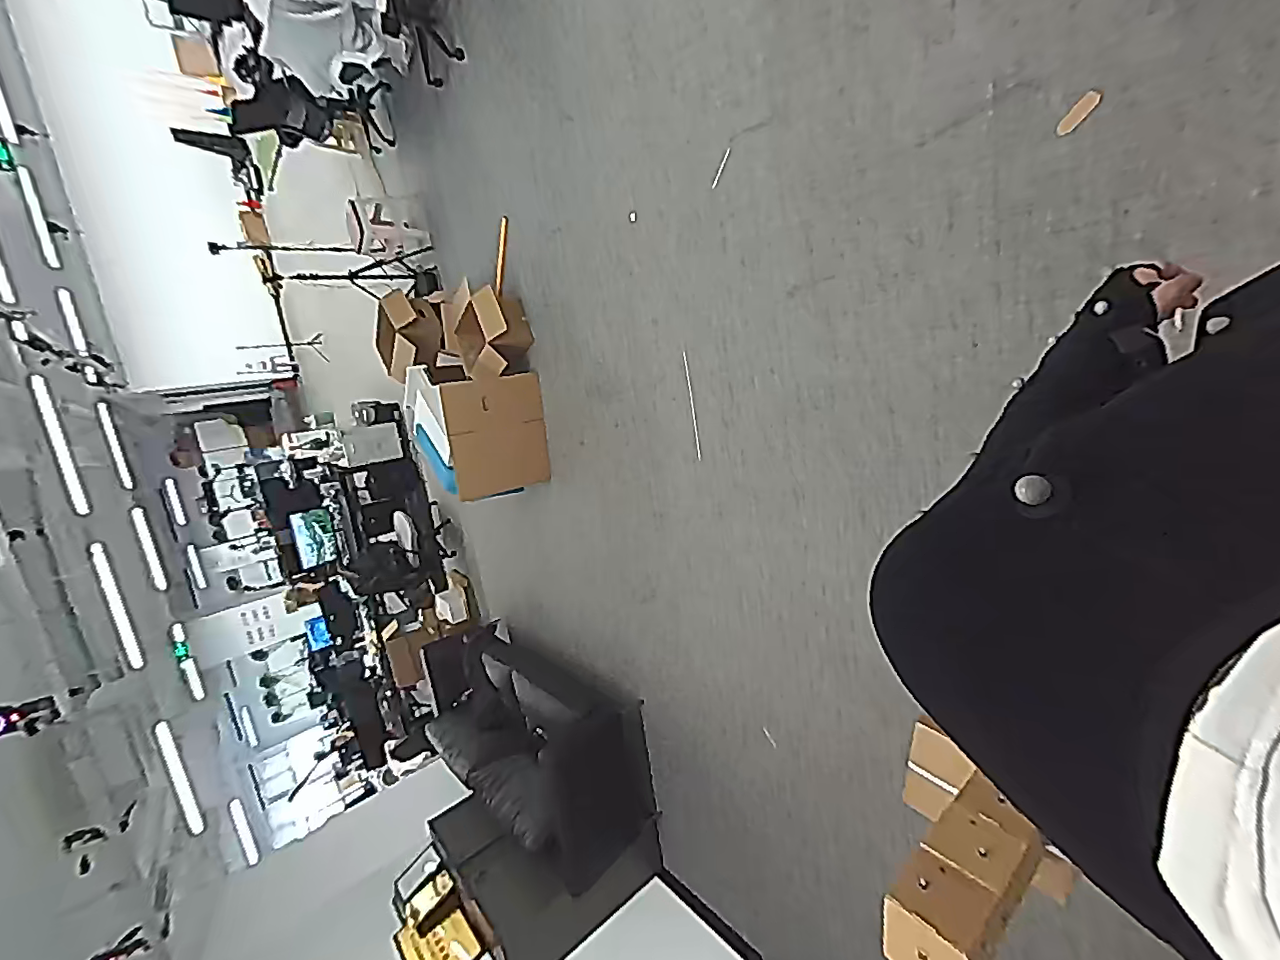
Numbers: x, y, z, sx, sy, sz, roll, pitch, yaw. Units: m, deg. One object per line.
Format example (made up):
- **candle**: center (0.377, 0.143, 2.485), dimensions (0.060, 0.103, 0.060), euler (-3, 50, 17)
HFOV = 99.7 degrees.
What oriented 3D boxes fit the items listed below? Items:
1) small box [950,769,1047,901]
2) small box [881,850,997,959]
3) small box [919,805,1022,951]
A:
- **small box**: center (0.881, 0.864, 1.339), dimensions (0.168, 0.176, 0.179), euler (14, 113, 49)
- **small box**: center (0.632, 0.943, 1.143), dimensions (0.168, 0.176, 0.179), euler (12, 114, 50)
- **small box**: center (0.755, 0.900, 1.242), dimensions (0.168, 0.176, 0.179), euler (13, 114, 48)
